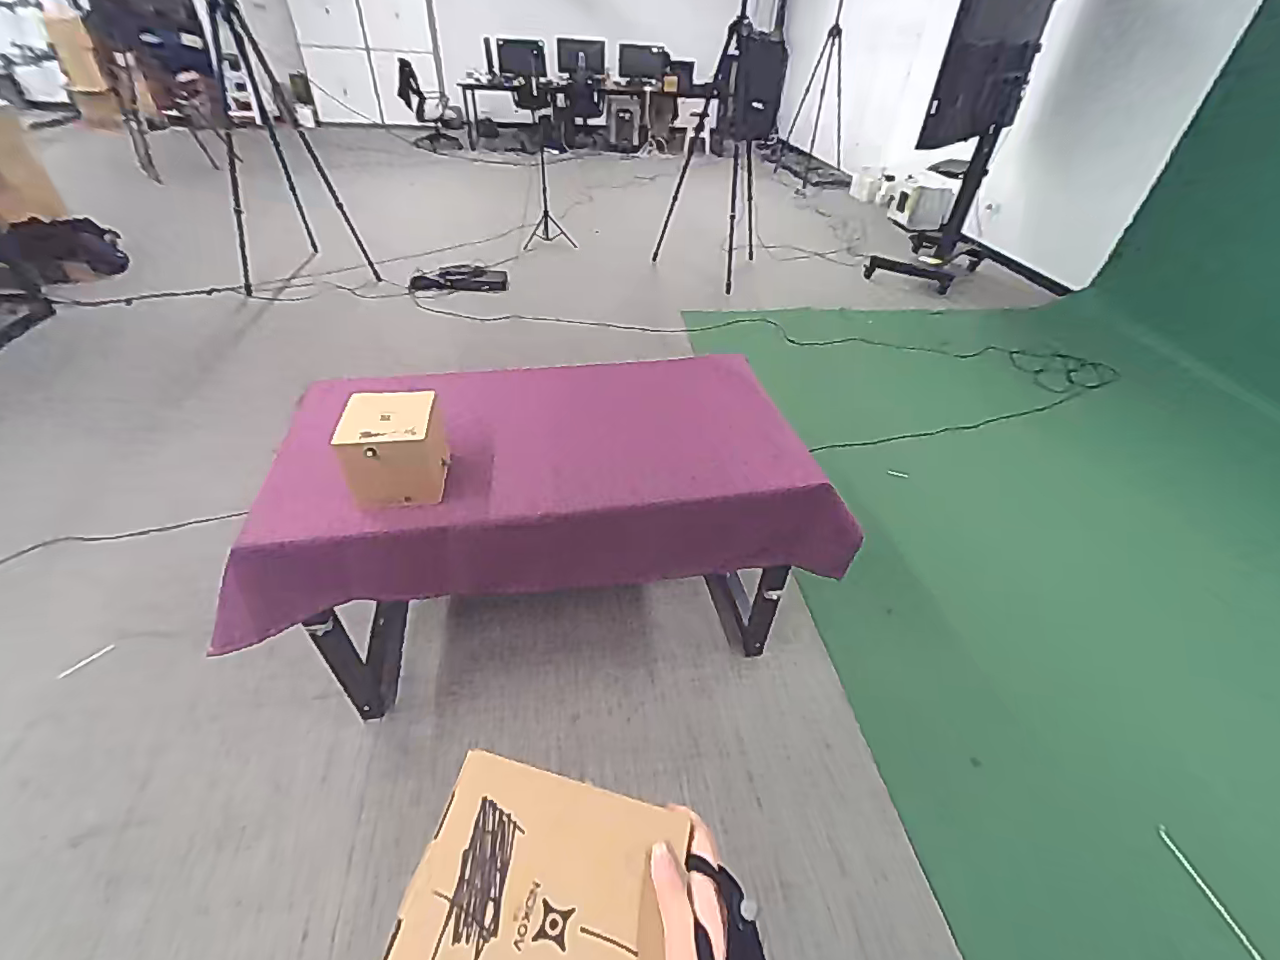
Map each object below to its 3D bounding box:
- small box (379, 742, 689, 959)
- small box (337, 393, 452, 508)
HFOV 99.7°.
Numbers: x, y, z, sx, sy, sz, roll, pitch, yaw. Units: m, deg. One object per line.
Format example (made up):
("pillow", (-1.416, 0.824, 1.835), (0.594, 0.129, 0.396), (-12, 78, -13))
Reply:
("small box", (-0.077, 0.333, 0.423), (0.179, 0.176, 0.168), (17, 52, 2))
("small box", (-0.491, -0.063, 1.113), (0.168, 0.176, 0.179), (-4, 40, -8))
